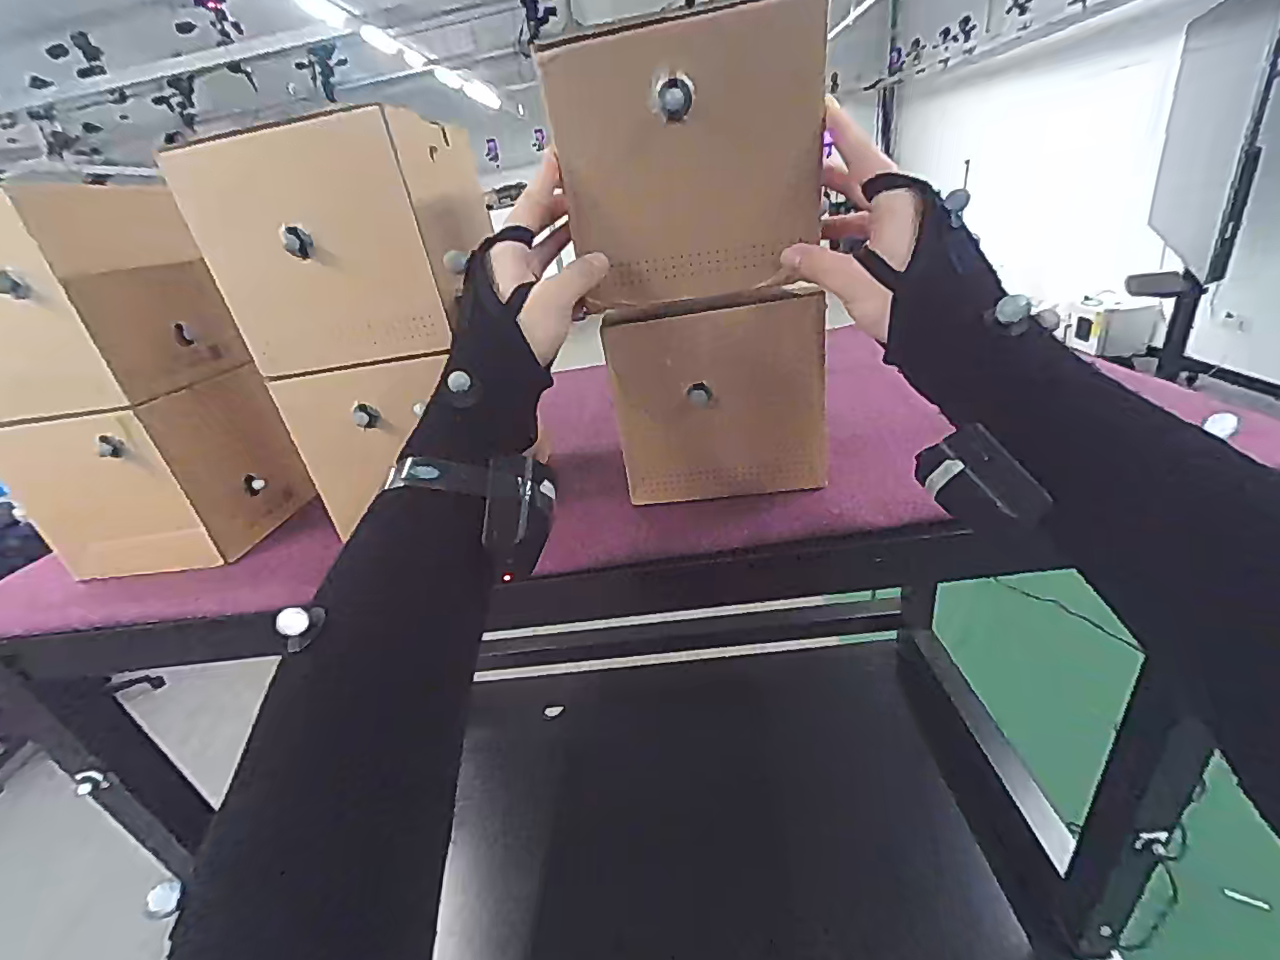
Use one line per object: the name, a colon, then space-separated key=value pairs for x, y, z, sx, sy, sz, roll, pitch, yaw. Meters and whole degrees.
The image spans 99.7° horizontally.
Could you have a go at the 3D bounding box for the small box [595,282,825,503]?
small box: x=0.070 y=-0.090 z=0.521 sx=0.179 sy=0.176 sz=0.168 roll=-8 pitch=27 yaw=9

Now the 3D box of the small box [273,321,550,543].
small box: x=-0.210 y=-0.050 z=0.553 sx=0.179 sy=0.176 sz=0.168 roll=-8 pitch=27 yaw=8

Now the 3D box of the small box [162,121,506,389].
small box: x=-0.239 y=-0.193 z=0.479 sx=0.179 sy=0.176 sz=0.168 roll=-9 pitch=26 yaw=9

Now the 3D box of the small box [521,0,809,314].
small box: x=0.032 y=-0.241 z=0.424 sx=0.179 sy=0.176 sz=0.168 roll=-5 pitch=36 yaw=10

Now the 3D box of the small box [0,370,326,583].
small box: x=-0.488 y=-0.005 z=0.579 sx=0.179 sy=0.176 sz=0.168 roll=-6 pitch=27 yaw=7
